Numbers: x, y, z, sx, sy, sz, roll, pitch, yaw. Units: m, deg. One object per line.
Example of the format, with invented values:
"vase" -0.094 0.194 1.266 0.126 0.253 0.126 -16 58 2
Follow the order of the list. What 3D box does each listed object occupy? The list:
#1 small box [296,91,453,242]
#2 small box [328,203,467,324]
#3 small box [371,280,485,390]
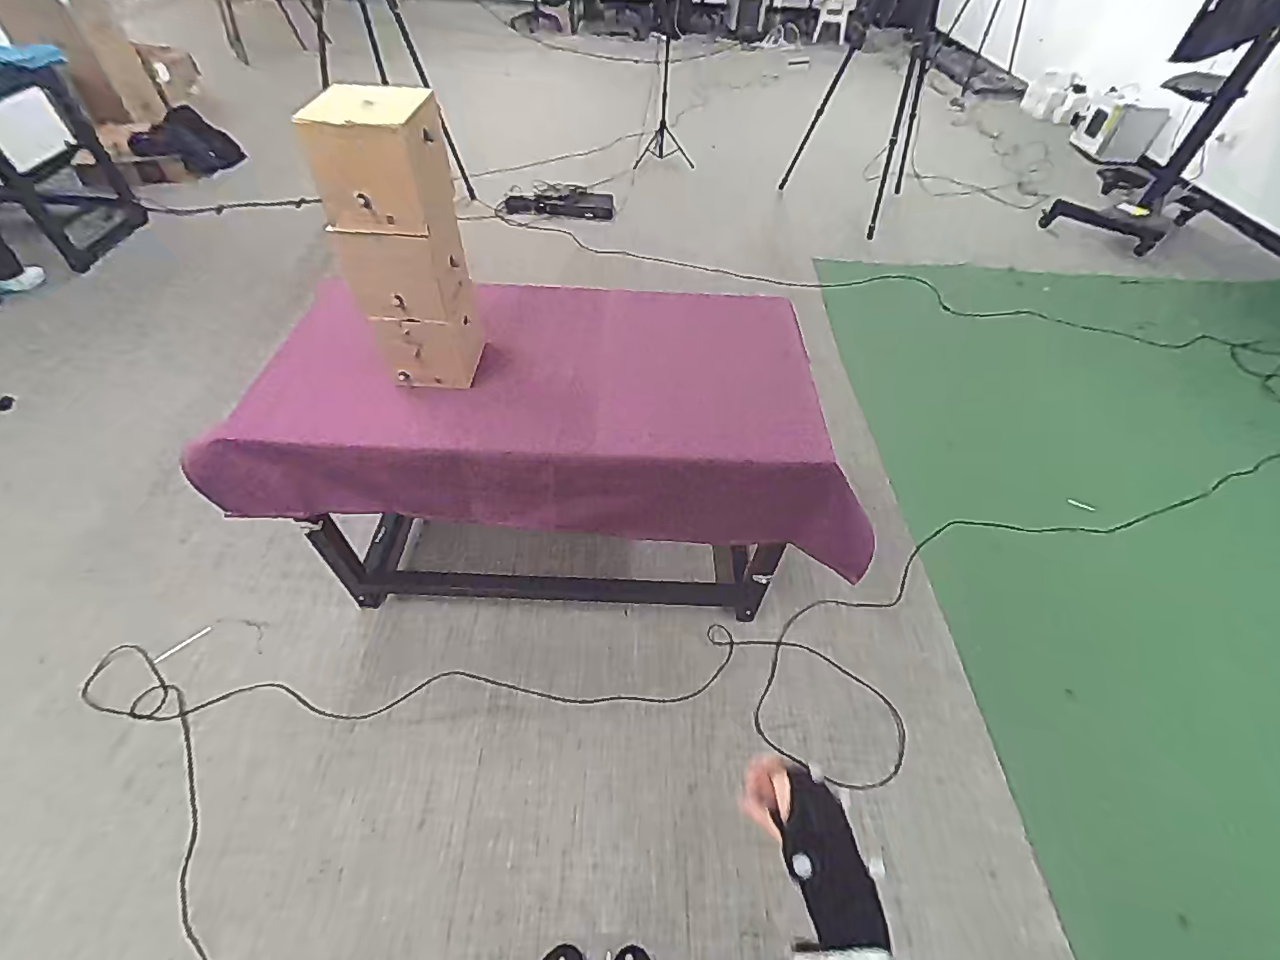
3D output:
"small box" -0.427 -0.525 0.909 0.168 0.176 0.179 2 50 -1
"small box" -0.444 -0.416 1.029 0.179 0.176 0.168 4 49 -1
"small box" -0.439 -0.309 1.155 0.168 0.176 0.179 3 49 -1
